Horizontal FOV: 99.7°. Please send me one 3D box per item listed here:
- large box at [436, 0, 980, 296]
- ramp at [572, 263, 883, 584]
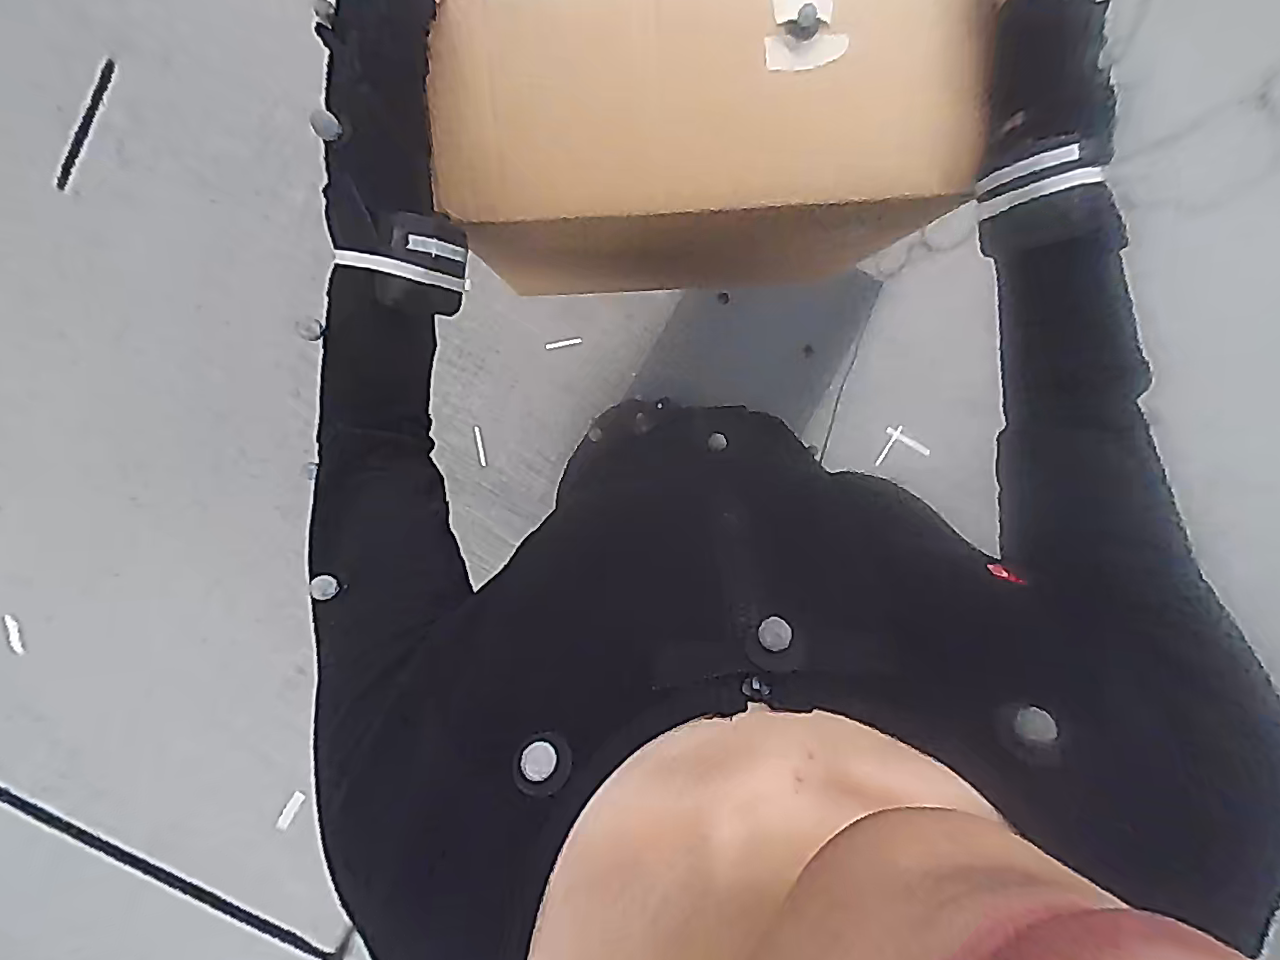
[{"bbox_3d":[0.044,-0.381,0.537,0.408,0.320,0.320,-3,99,-1],"label":"large box"},{"bbox_3d":[0.258,-0.256,1.528,0.509,0.206,0.991,28,96,-1],"label":"ramp"}]
